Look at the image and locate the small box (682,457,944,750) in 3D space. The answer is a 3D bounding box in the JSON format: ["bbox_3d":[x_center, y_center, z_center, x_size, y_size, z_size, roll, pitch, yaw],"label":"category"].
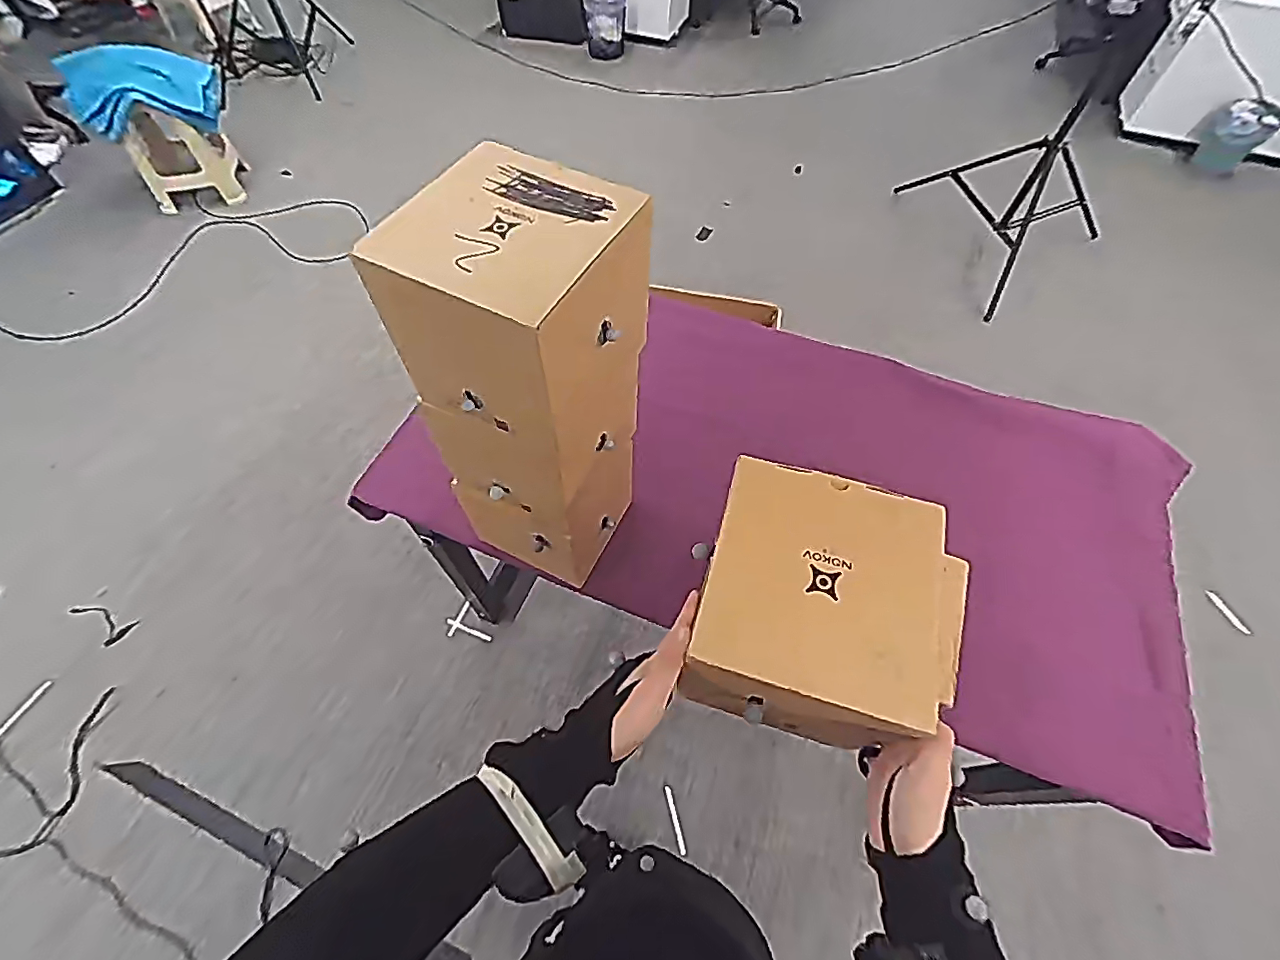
[{"bbox_3d":[0.135,0.112,0.461,0.168,0.176,0.179,14,59,10],"label":"small box"}]

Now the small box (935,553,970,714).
[{"bbox_3d":[0.276,0.179,0.671,0.168,0.176,0.179,19,61,12],"label":"small box"}]

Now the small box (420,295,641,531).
[{"bbox_3d":[-0.112,-0.072,0.623,0.168,0.176,0.179,23,62,12],"label":"small box"}]

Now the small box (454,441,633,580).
[{"bbox_3d":[-0.122,0.020,0.759,0.179,0.176,0.168,23,60,13],"label":"small box"}]
